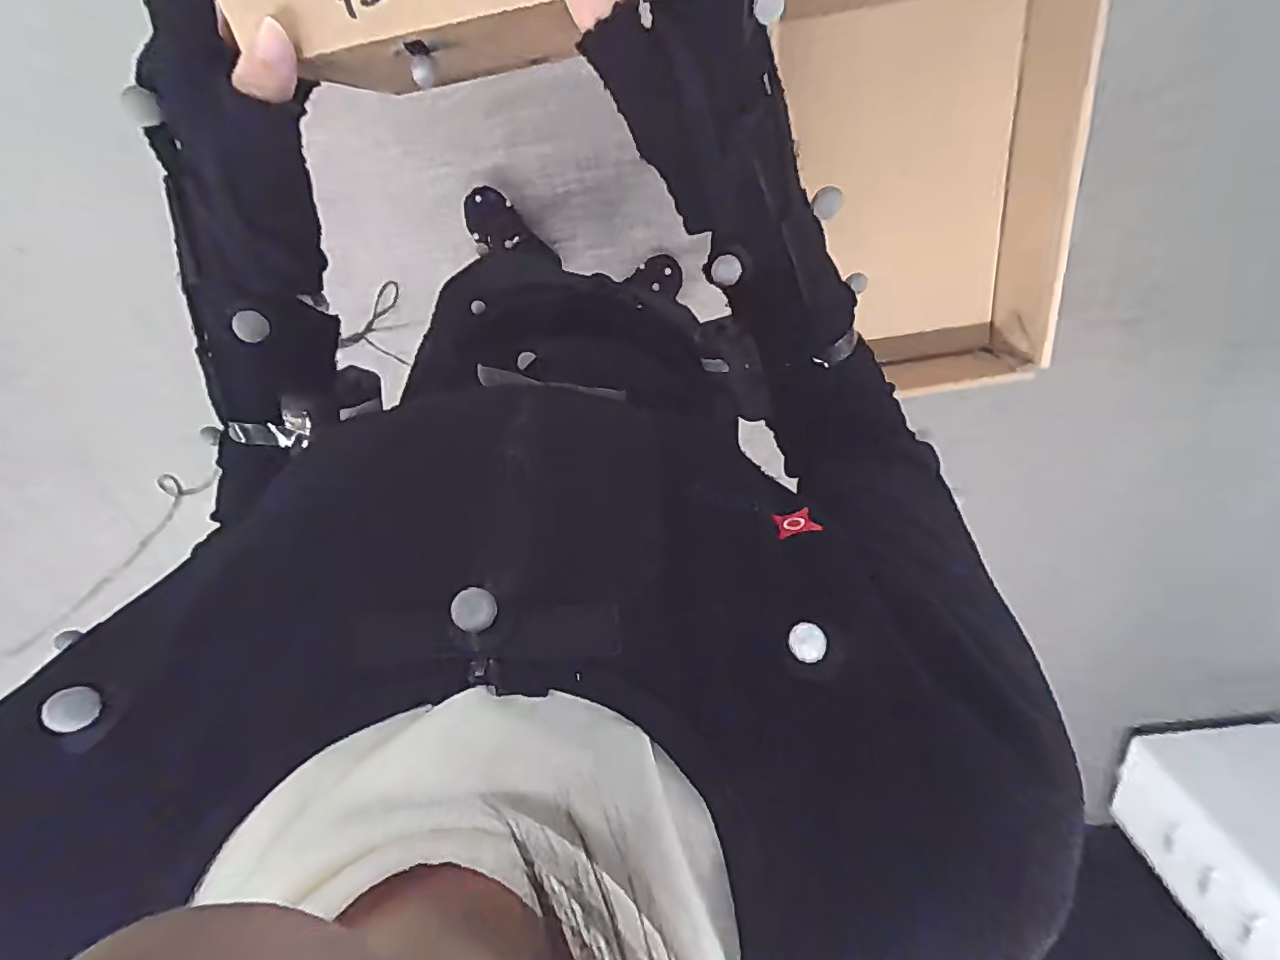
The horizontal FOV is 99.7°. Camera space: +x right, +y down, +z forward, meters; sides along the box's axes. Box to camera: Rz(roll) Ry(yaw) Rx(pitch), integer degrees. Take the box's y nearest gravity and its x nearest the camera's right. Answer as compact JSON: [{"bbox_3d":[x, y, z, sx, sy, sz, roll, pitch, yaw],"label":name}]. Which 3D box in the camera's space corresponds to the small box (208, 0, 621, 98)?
[{"bbox_3d":[-0.105,-0.300,0.244,0.168,0.176,0.179,-10,121,4],"label":"small box"}]
